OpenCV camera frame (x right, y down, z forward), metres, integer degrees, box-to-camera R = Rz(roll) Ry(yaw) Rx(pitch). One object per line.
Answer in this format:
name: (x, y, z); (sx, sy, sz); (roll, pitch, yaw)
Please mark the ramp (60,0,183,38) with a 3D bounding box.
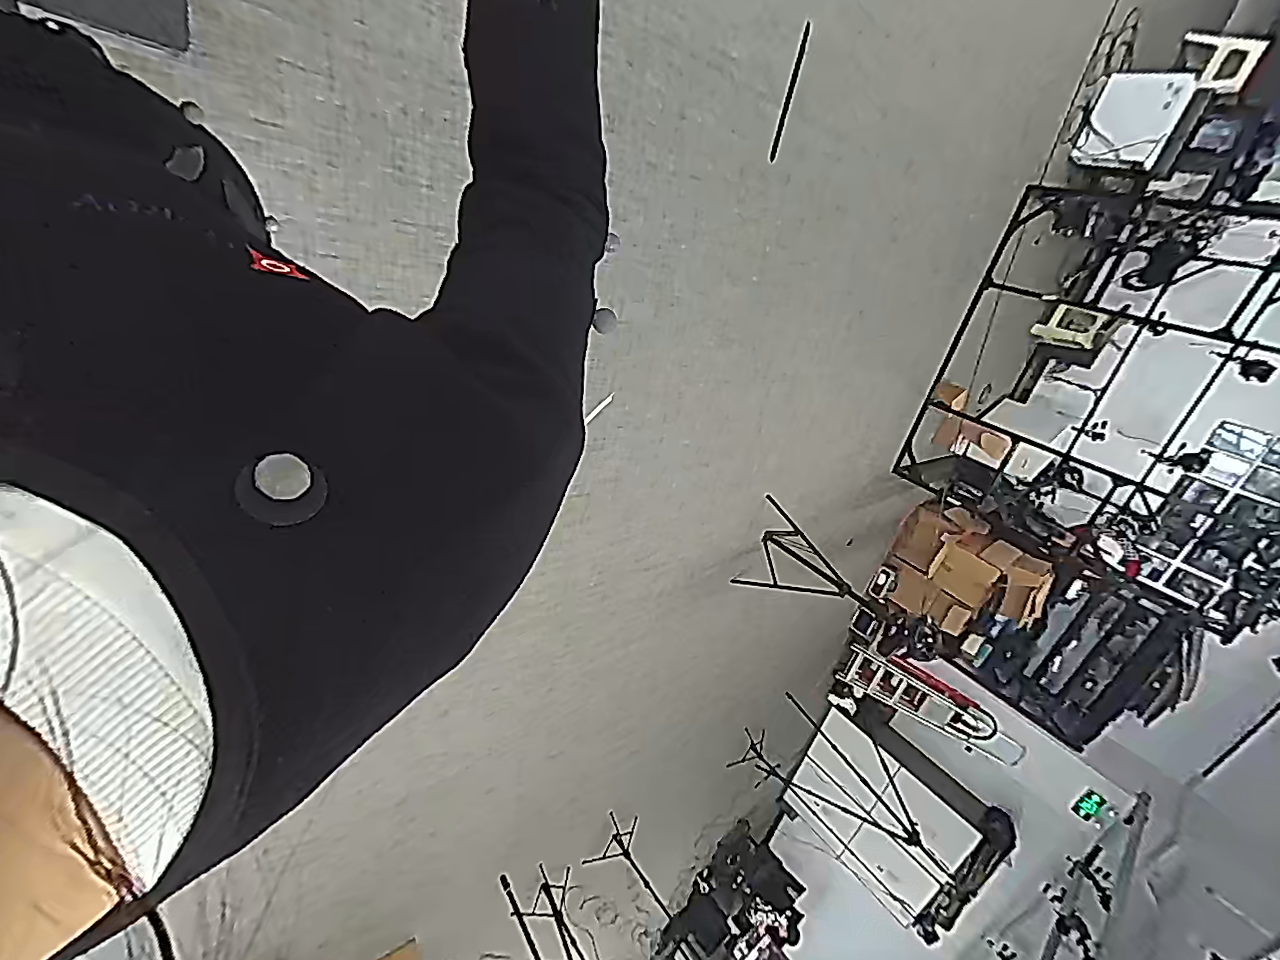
ramp: (-0.791, -1.129, 0.531); (0.509, 0.206, 0.991); (-9, 125, -42)
